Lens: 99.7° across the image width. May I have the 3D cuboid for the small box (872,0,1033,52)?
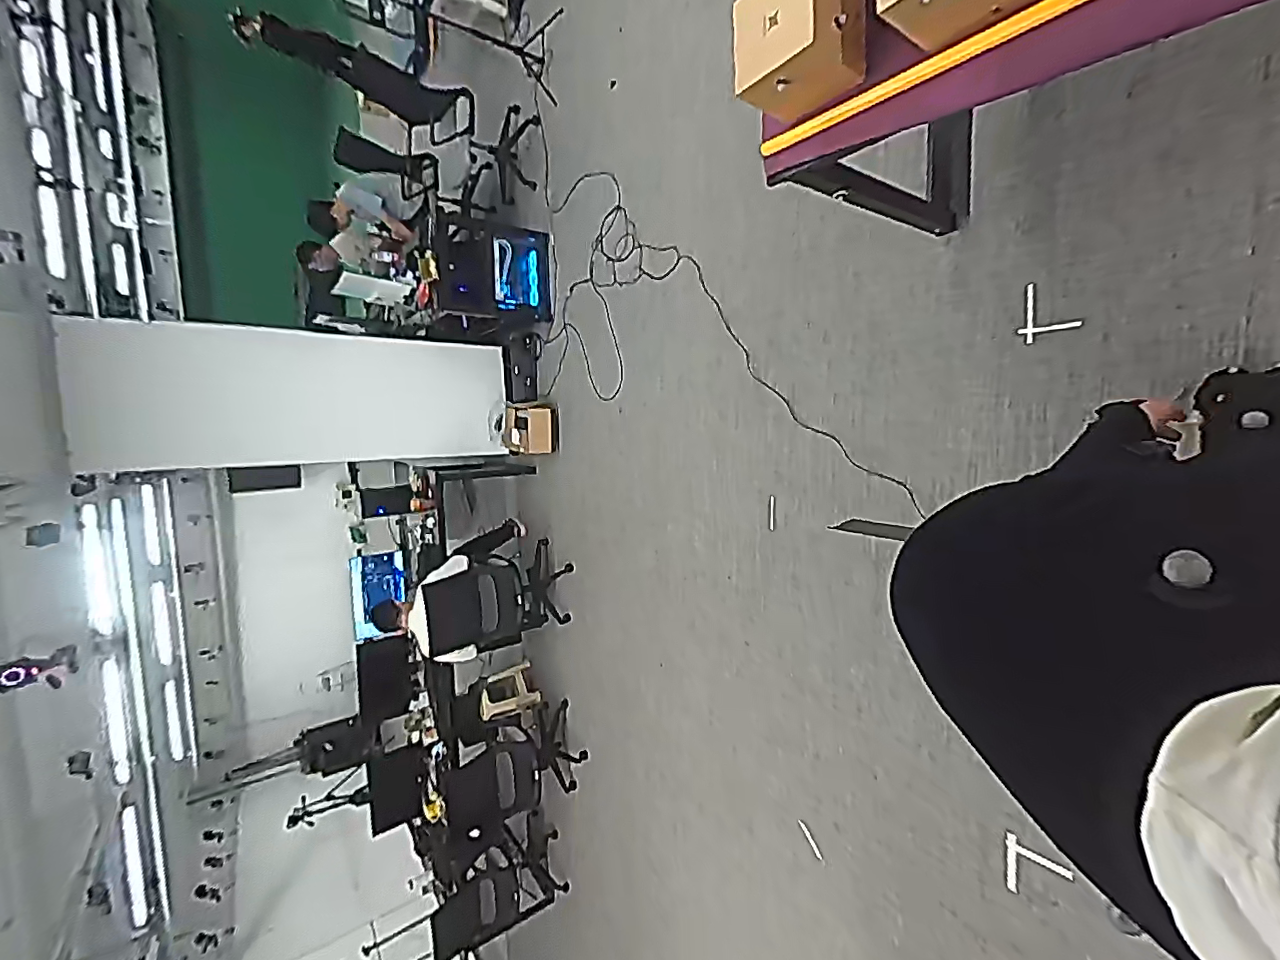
[{"bbox_3d":[0.454,-0.766,0.764,0.168,0.176,0.179,7,100,55],"label":"small box"}]

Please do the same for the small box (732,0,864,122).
[{"bbox_3d":[0.290,-0.800,0.990,0.179,0.176,0.168,4,98,54],"label":"small box"}]
